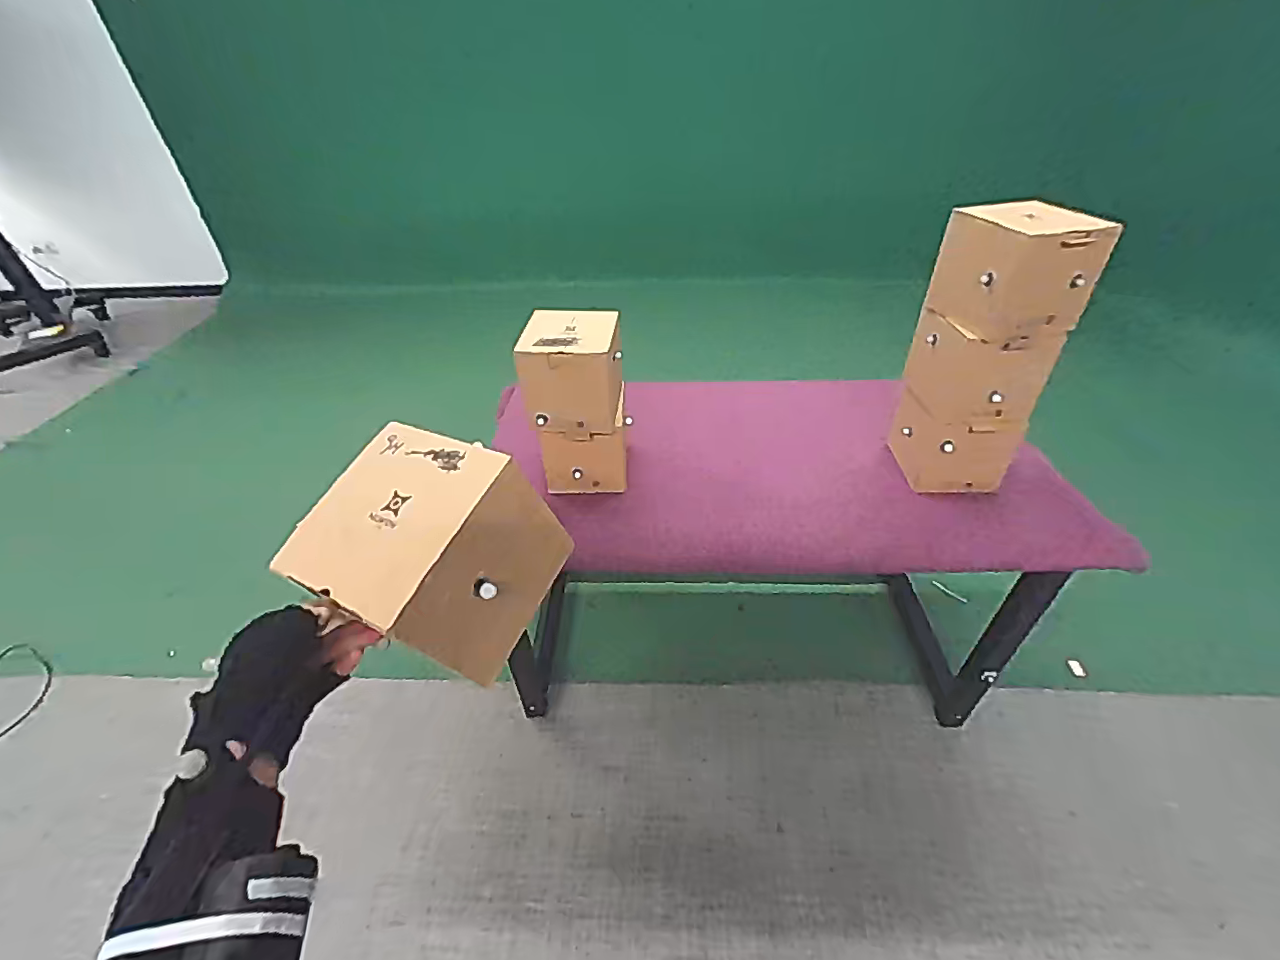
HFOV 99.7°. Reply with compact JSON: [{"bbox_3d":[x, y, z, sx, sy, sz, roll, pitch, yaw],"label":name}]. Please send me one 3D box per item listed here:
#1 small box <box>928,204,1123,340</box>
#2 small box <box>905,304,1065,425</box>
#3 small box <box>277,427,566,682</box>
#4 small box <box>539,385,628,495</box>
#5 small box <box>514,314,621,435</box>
[{"bbox_3d":[0.624,-0.344,0.904,0.168,0.176,0.179,-9,40,-9],"label":"small box"},{"bbox_3d":[0.623,-0.218,1.008,0.168,0.176,0.179,-3,40,1],"label":"small box"},{"bbox_3d":[-0.200,0.078,0.545,0.168,0.176,0.179,17,63,26],"label":"small box"},{"bbox_3d":[-0.113,-0.086,1.146,0.168,0.176,0.179,-1,41,1],"label":"small box"},{"bbox_3d":[-0.126,-0.200,1.027,0.168,0.176,0.179,2,41,4],"label":"small box"}]
